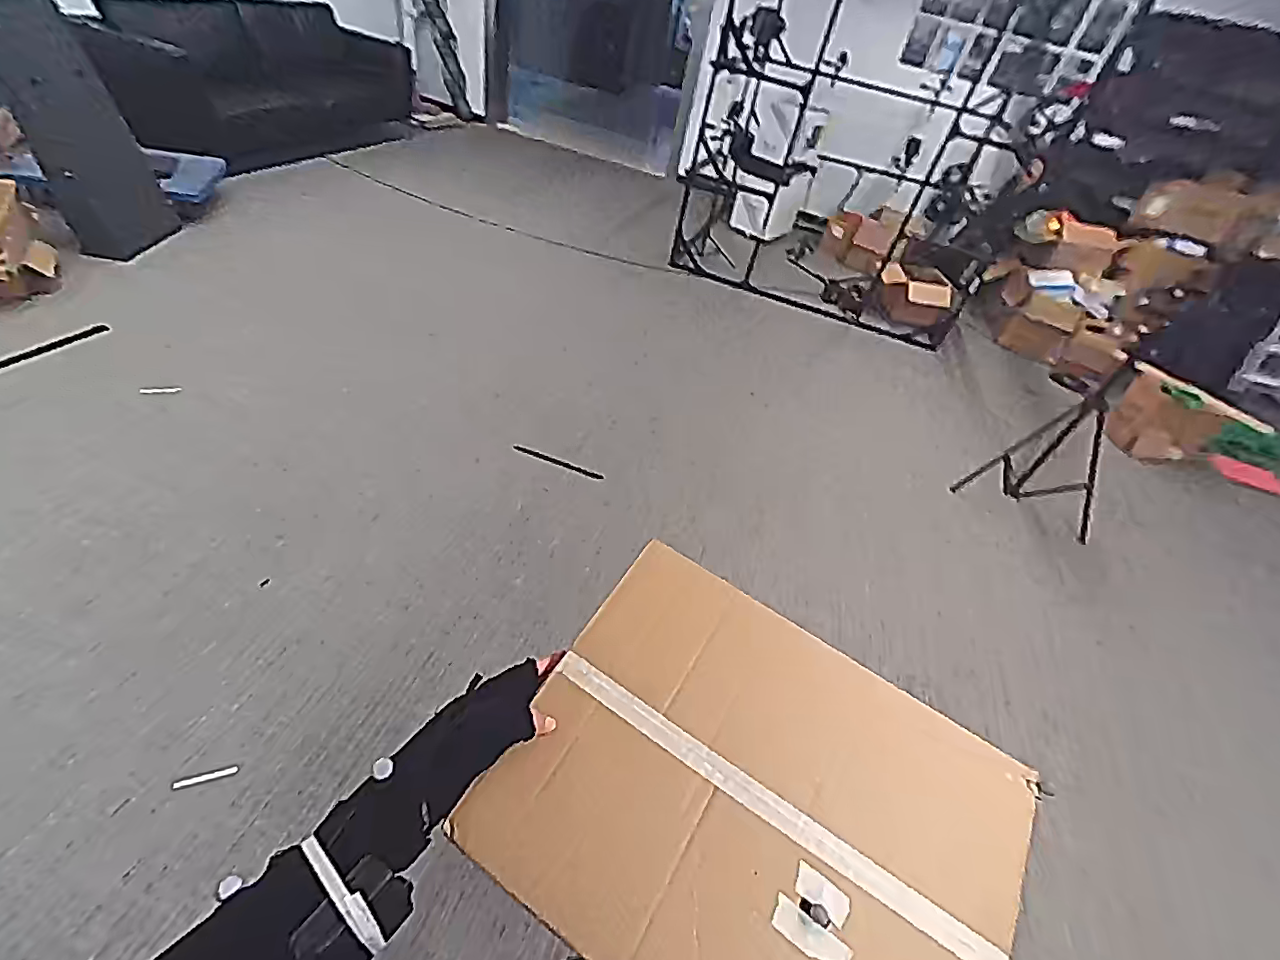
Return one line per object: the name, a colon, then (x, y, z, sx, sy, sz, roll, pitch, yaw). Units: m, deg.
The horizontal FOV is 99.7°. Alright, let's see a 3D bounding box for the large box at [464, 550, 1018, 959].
large box: (0.085, 0.352, 0.582, 0.408, 0.320, 0.320, 31, 58, 14)
